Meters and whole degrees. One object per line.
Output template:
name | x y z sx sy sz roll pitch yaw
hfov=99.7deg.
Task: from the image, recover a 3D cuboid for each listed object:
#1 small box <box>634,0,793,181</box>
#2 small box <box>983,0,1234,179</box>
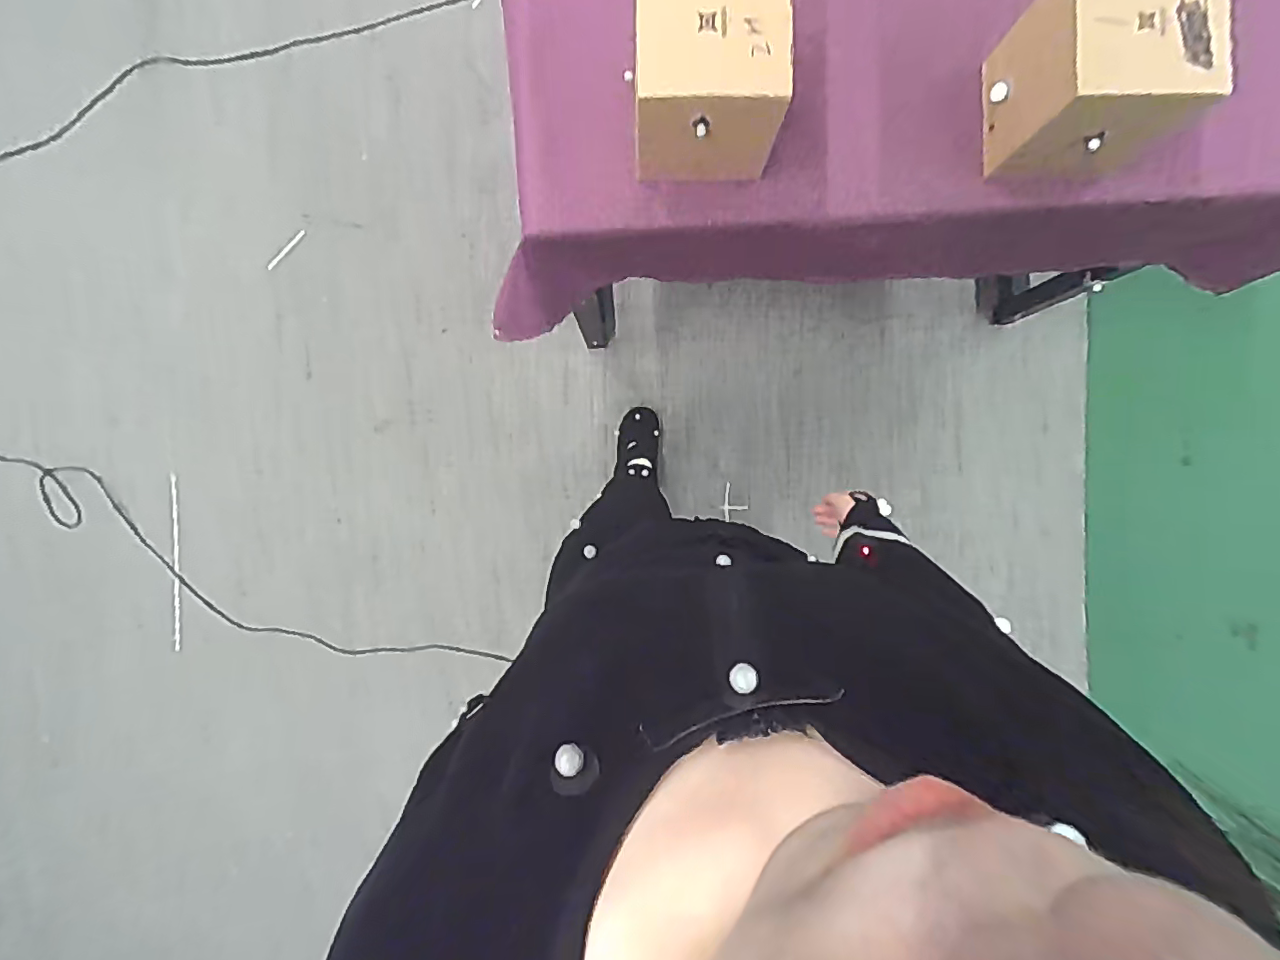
small box | 0.083 -0.500 0.676 0.179 0.176 0.168 0 90 0
small box | 0.569 -0.502 0.676 0.179 0.176 0.168 0 90 1
